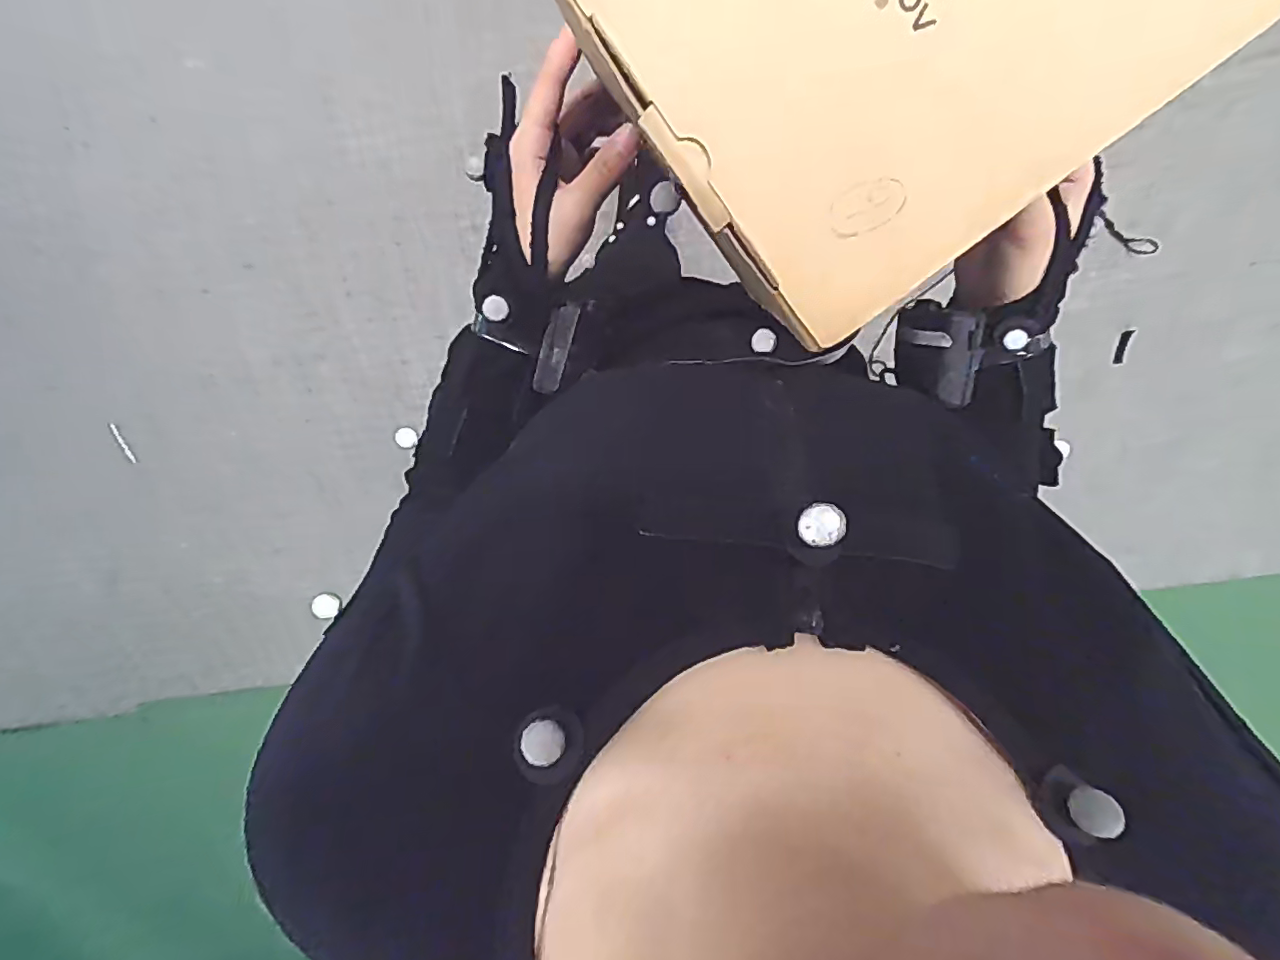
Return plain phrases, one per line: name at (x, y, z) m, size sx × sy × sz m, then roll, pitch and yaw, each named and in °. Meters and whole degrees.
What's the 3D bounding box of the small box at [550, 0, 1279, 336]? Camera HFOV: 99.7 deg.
small box at (0.084, -0.190, 0.229) m, size 0.179 × 0.176 × 0.168 m, roll -36°, pitch 107°, yaw 19°
